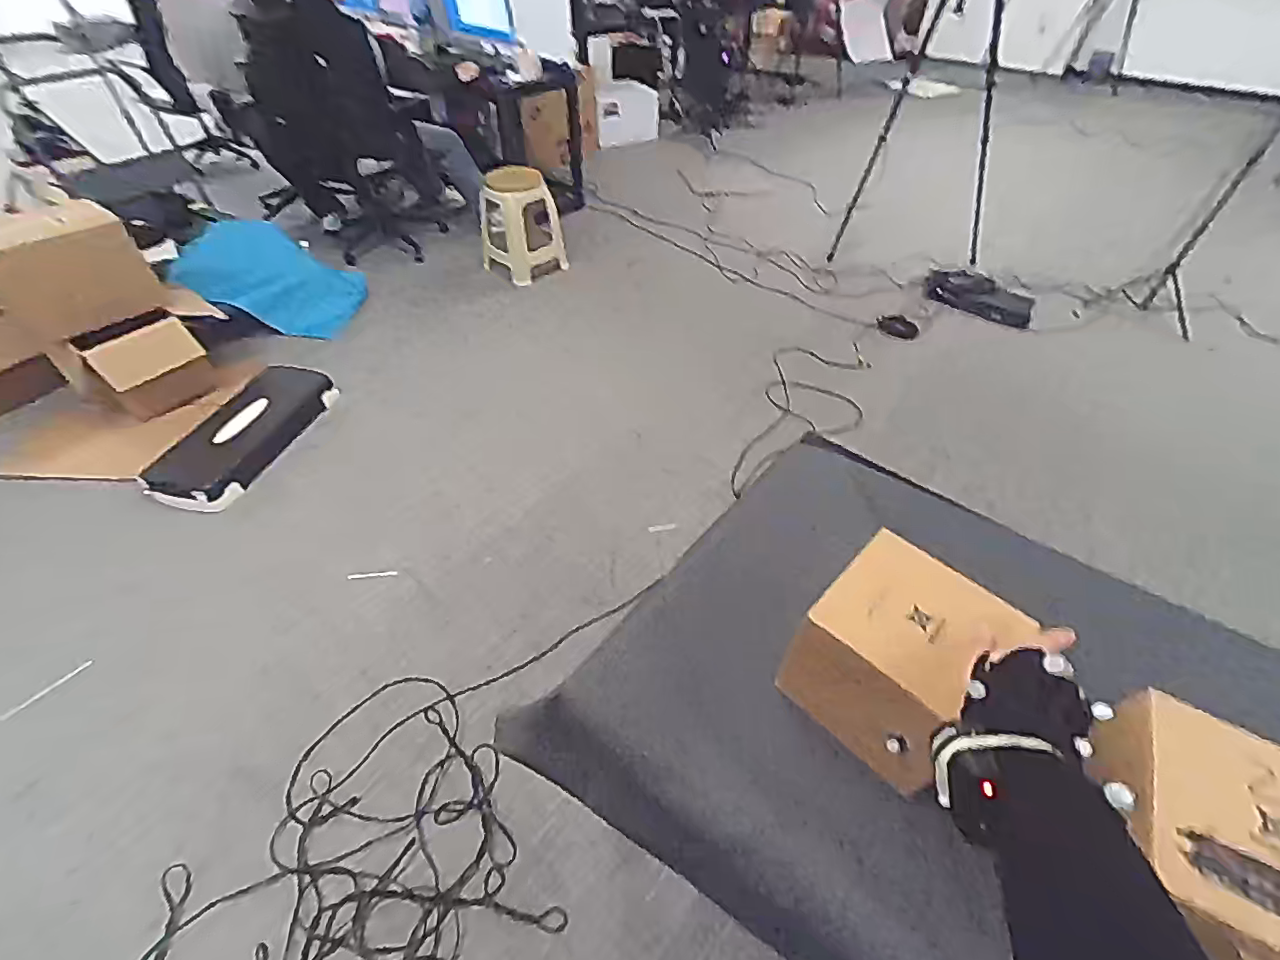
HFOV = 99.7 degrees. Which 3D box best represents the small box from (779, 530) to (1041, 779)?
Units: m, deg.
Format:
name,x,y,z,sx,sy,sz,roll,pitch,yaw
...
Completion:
name,x,y,z,sx,sy,sz,roll,pitch,yaw
small box,0.282,0.196,0.598,0.168,0.176,0.179,-35,55,-31
